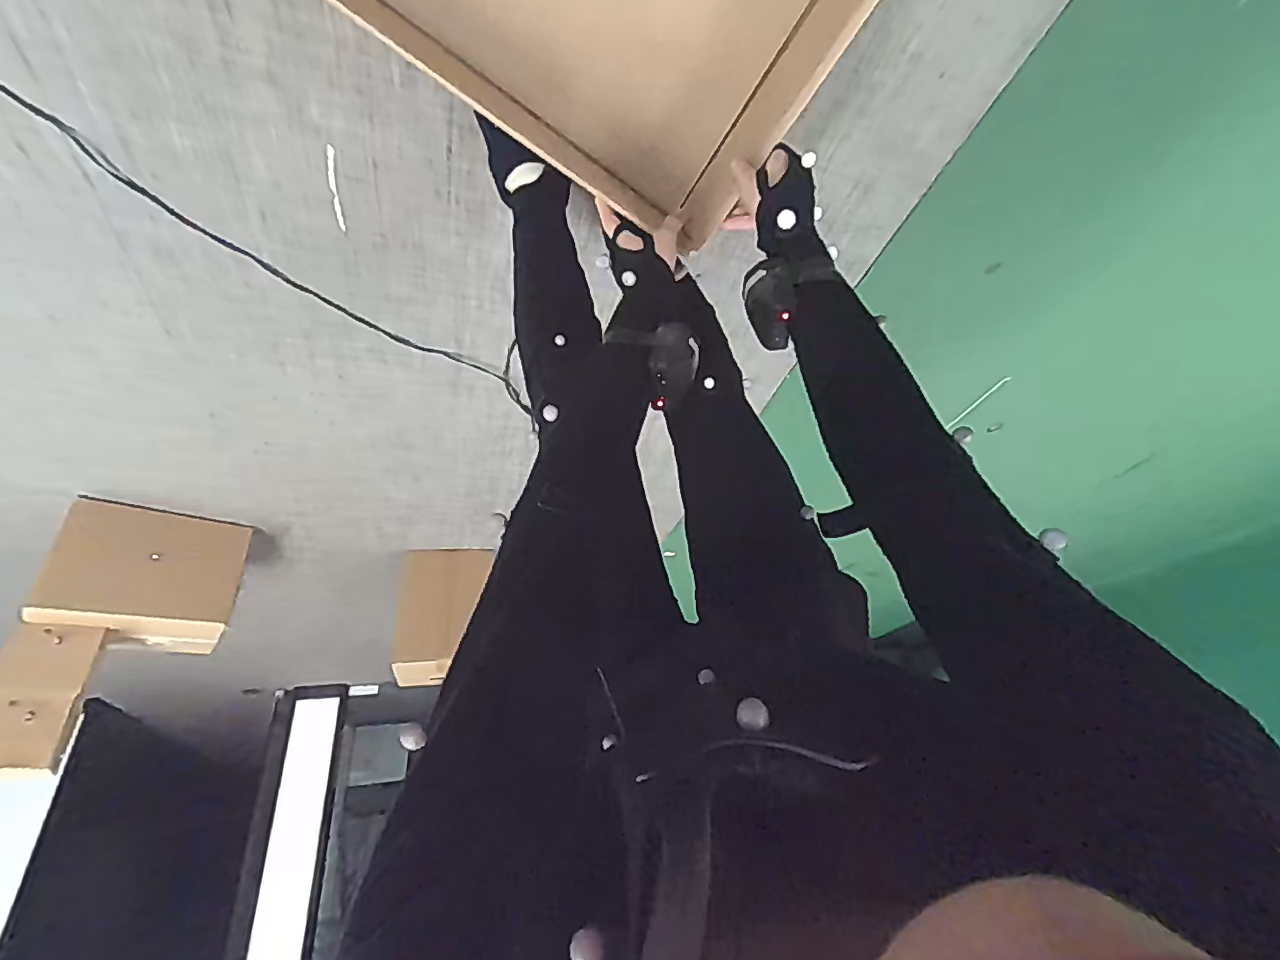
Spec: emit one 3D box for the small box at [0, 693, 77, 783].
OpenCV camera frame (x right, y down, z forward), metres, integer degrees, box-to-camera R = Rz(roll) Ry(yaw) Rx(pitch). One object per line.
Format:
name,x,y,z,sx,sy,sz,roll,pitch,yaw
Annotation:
small box,-1.480,0.613,1.278,0.168,0.176,0.179,17,140,-34
